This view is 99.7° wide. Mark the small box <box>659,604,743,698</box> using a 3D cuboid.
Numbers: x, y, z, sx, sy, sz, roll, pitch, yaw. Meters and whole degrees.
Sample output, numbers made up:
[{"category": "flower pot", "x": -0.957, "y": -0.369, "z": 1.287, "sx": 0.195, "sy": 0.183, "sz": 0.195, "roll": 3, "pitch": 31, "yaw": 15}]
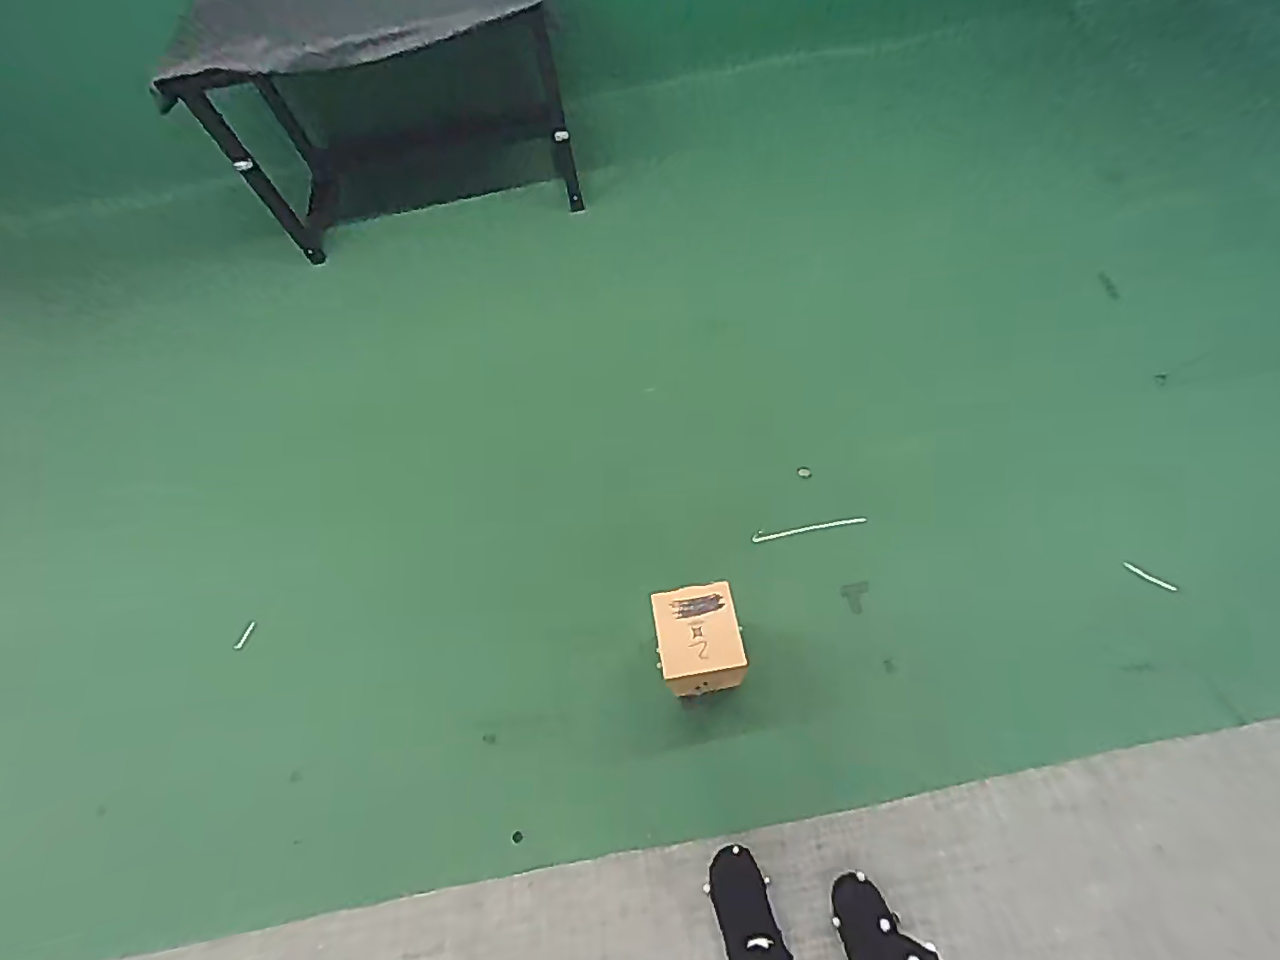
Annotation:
[{"category": "small box", "x": 0.146, "y": 0.417, "z": 1.295, "sx": 0.168, "sy": 0.176, "sz": 0.179, "roll": -11, "pitch": 60, "yaw": 2}]
